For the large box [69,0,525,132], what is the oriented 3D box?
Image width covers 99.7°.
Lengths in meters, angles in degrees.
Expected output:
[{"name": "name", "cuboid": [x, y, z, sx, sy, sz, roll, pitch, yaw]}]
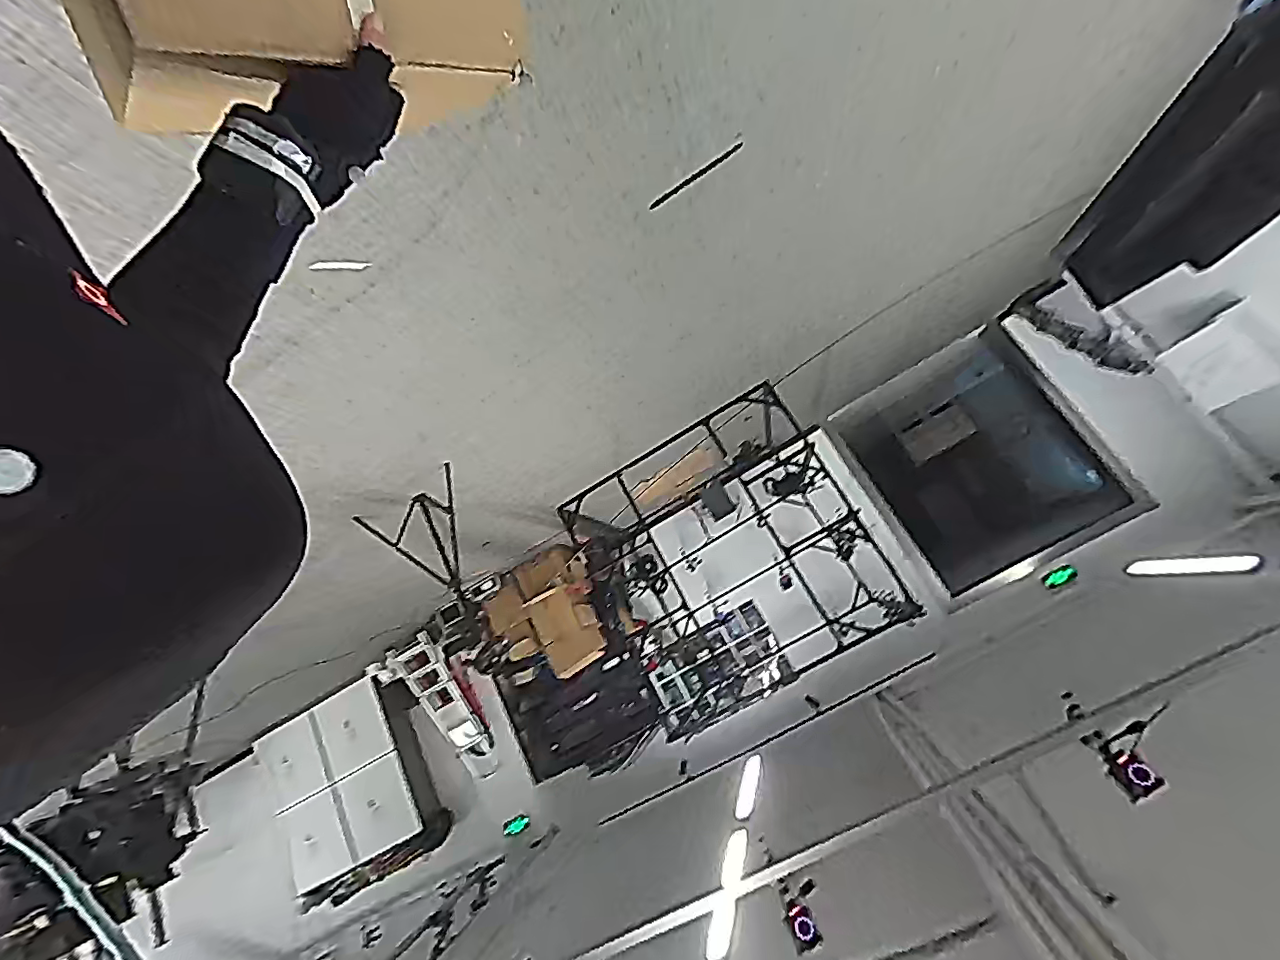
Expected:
[{"name": "large box", "cuboid": [-0.350, -0.562, 0.467, 0.320, 0.320, 0.408, -28, 125, -35]}]
